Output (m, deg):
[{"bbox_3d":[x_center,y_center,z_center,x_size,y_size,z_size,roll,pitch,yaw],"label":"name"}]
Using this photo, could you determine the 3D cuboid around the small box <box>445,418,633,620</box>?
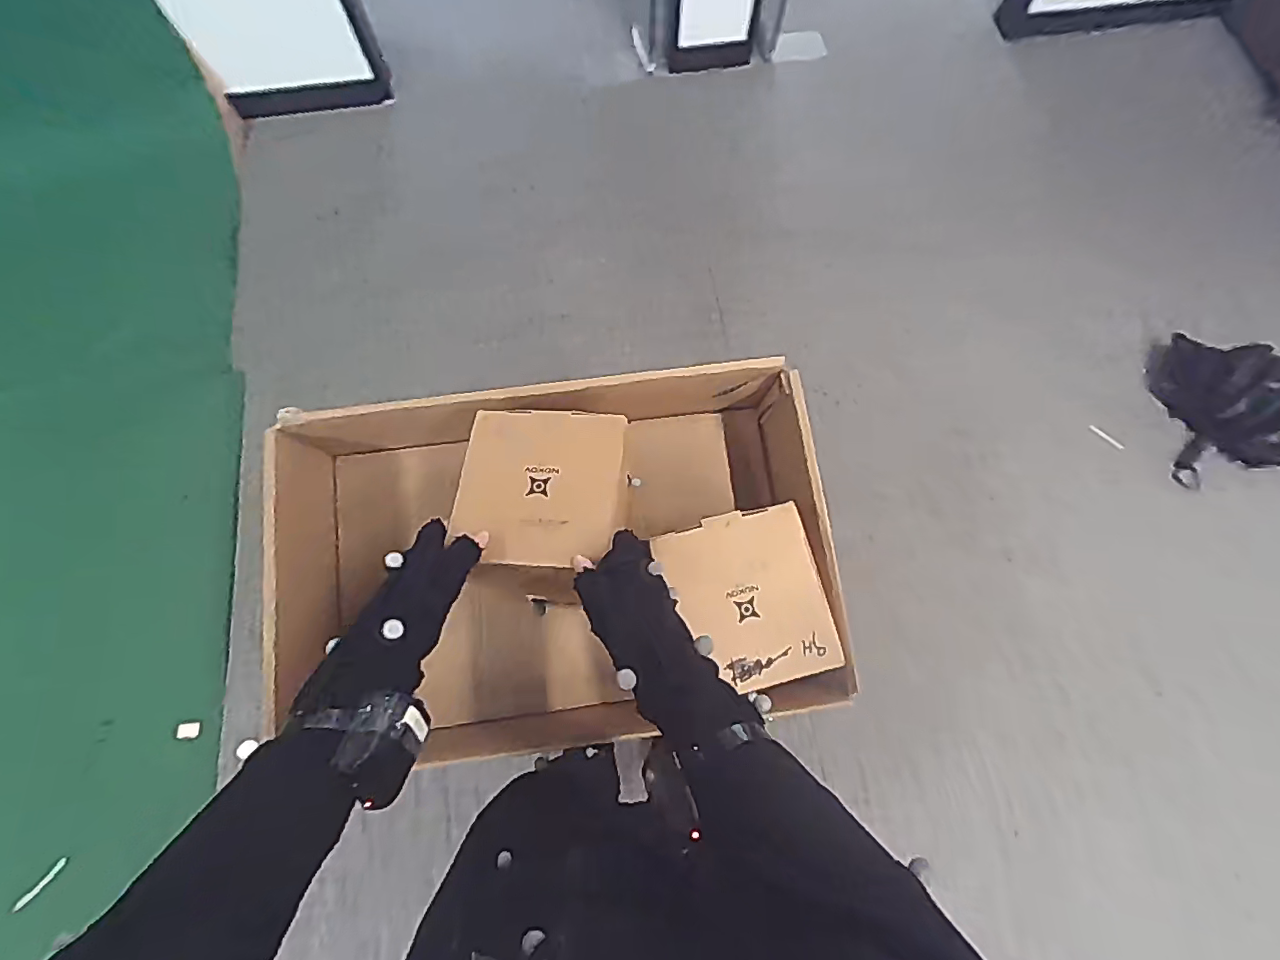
[{"bbox_3d":[-0.098,0.049,0.618,0.168,0.176,0.179,1,62,4],"label":"small box"}]
